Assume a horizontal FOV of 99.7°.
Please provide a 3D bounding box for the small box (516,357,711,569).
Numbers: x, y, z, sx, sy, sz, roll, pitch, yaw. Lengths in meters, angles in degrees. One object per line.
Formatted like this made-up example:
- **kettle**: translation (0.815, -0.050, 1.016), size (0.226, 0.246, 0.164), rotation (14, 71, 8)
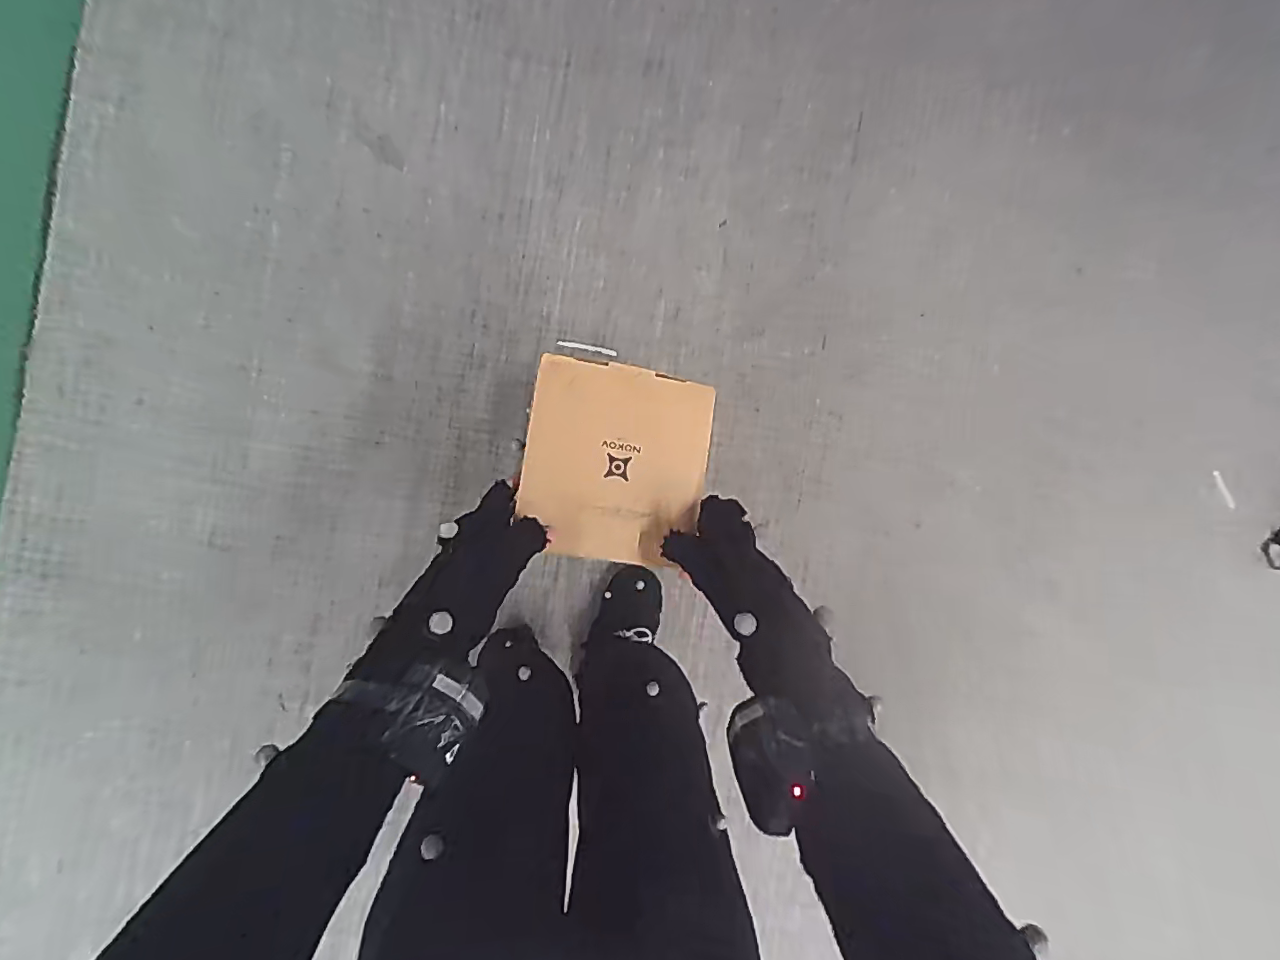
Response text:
- **small box**: translation (-0.038, -0.010, 0.572), size (0.168, 0.176, 0.179), rotation (8, 86, -12)
